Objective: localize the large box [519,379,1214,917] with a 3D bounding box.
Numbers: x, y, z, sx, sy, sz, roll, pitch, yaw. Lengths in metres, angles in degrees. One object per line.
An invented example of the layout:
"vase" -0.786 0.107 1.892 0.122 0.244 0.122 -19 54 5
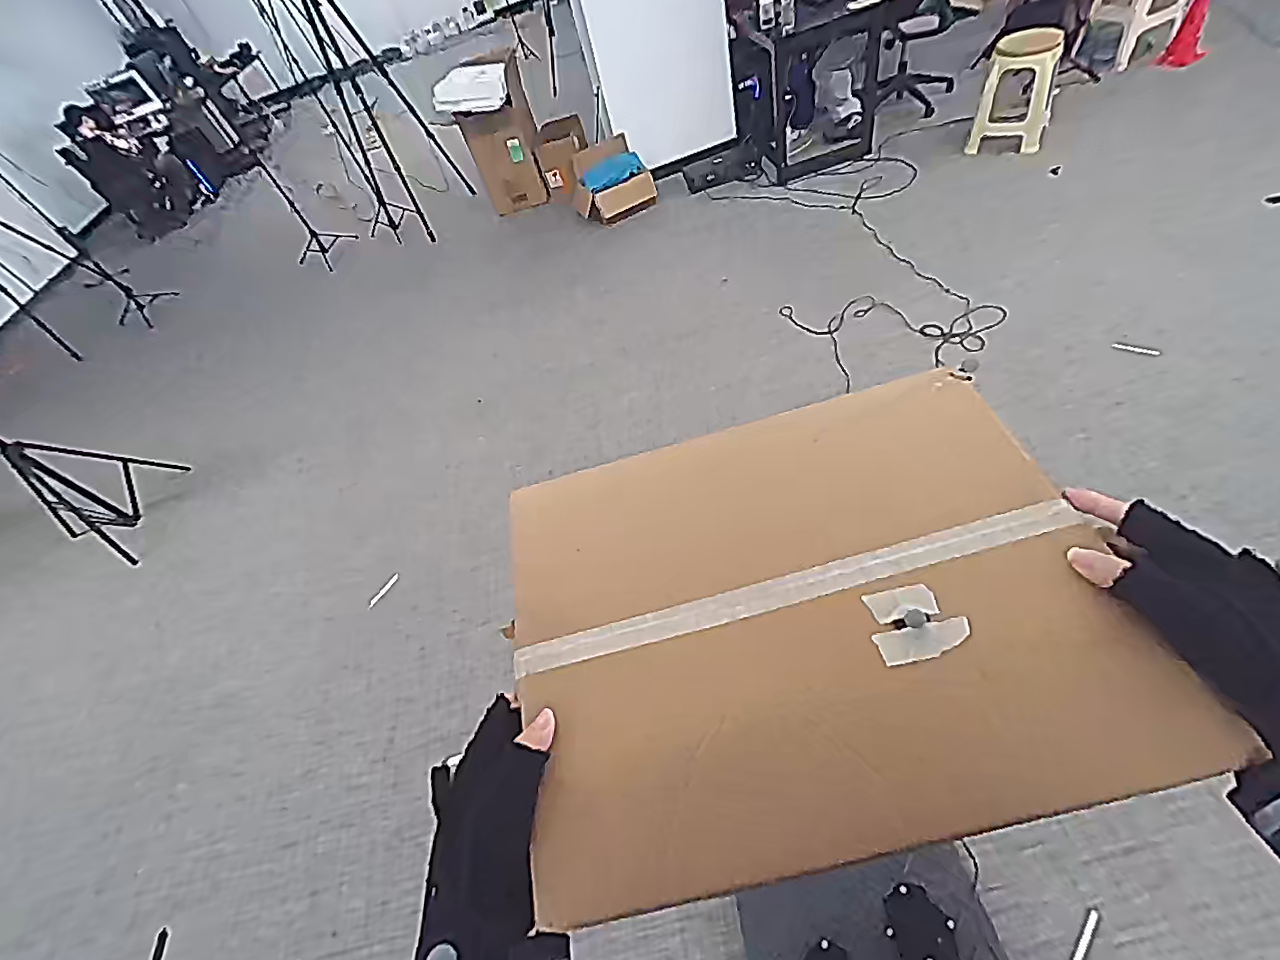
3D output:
"large box" 0.137 0.167 0.520 0.408 0.320 0.320 -16 55 3
